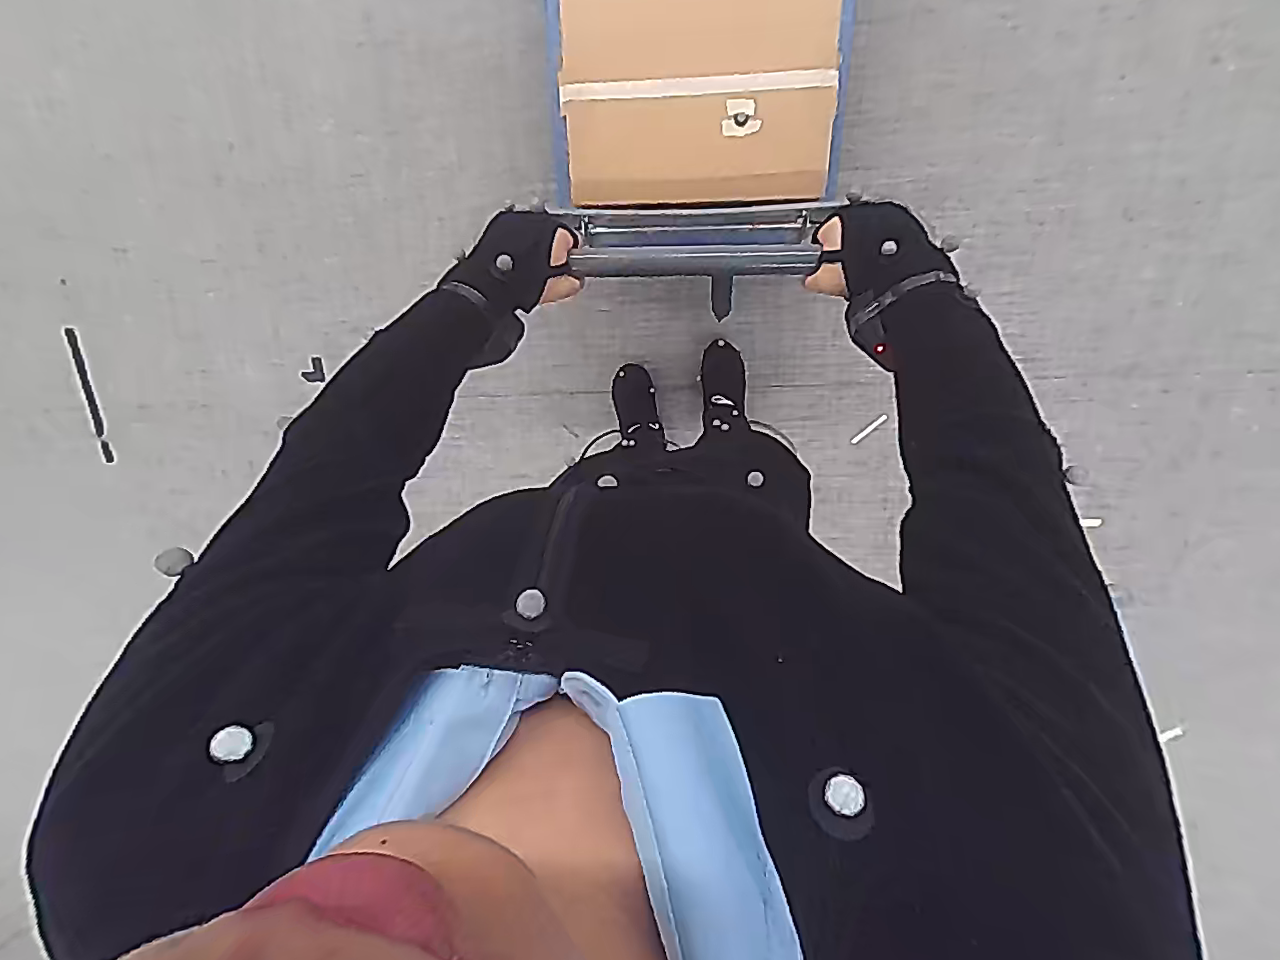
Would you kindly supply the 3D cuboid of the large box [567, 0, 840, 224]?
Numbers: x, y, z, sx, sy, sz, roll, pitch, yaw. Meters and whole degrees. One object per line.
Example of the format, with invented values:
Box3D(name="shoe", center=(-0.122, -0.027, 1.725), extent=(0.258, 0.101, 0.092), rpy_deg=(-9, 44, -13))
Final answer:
Box3D(name="large box", center=(0.102, -0.647, 0.965), extent=(0.408, 0.320, 0.320), rpy_deg=(0, 112, 4))
